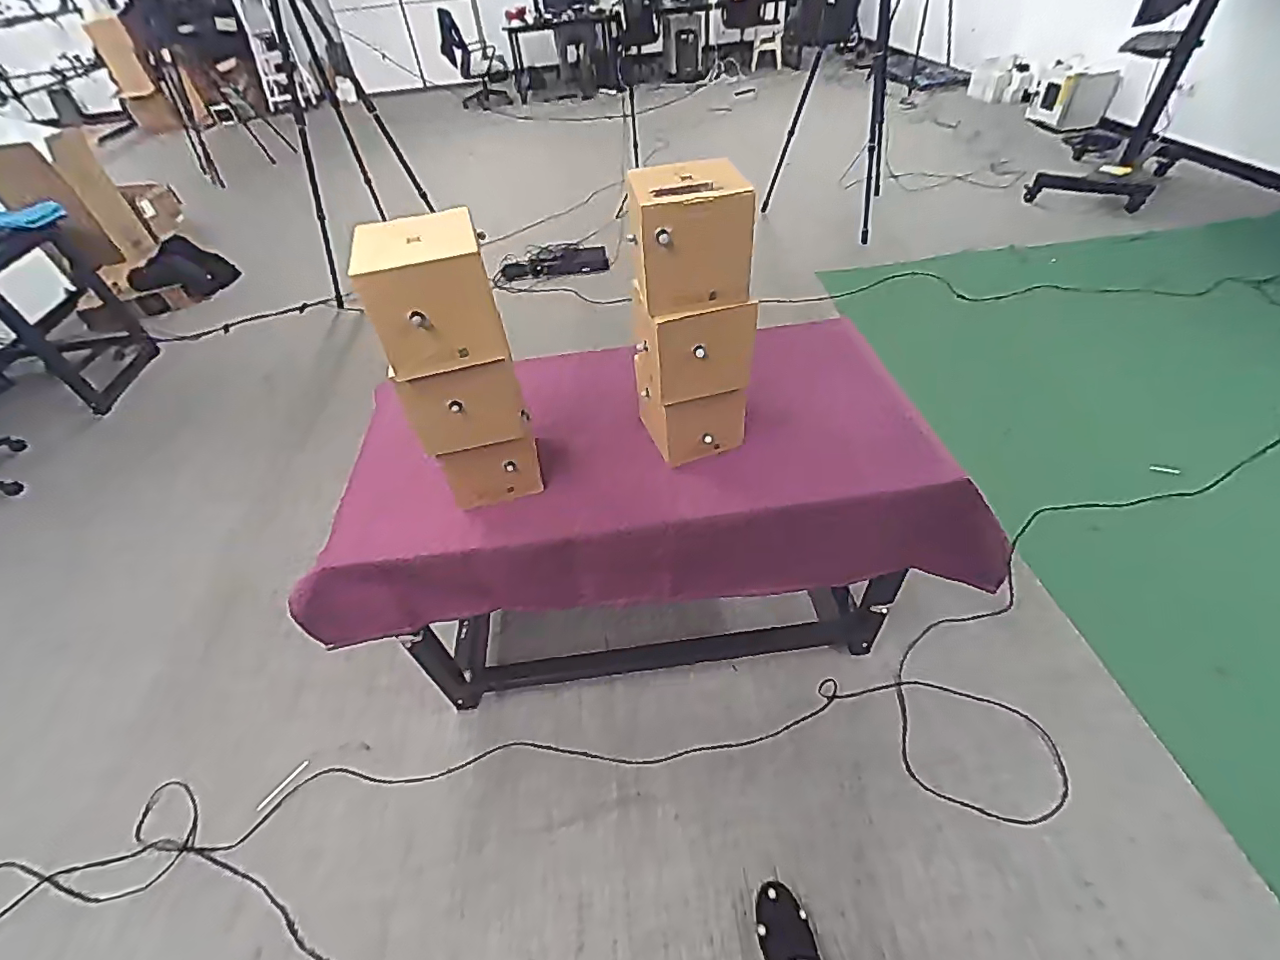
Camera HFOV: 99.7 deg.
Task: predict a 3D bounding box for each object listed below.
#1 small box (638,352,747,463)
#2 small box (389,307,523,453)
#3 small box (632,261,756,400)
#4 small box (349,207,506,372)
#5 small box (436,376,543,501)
[{"bbox_3d":[0.102,-0.164,1.098,0.168,0.176,0.179,-17,47,-9],"label":"small box"},{"bbox_3d":[-0.304,-0.171,0.929,0.179,0.176,0.168,-13,46,-6],"label":"small box"},{"bbox_3d":[0.094,-0.264,0.967,0.179,0.176,0.168,-14,47,-6],"label":"small box"},{"bbox_3d":[-0.306,-0.277,0.805,0.168,0.176,0.179,-15,46,-9],"label":"small box"},{"bbox_3d":[-0.292,-0.077,1.064,0.168,0.176,0.179,-12,45,-6],"label":"small box"}]
